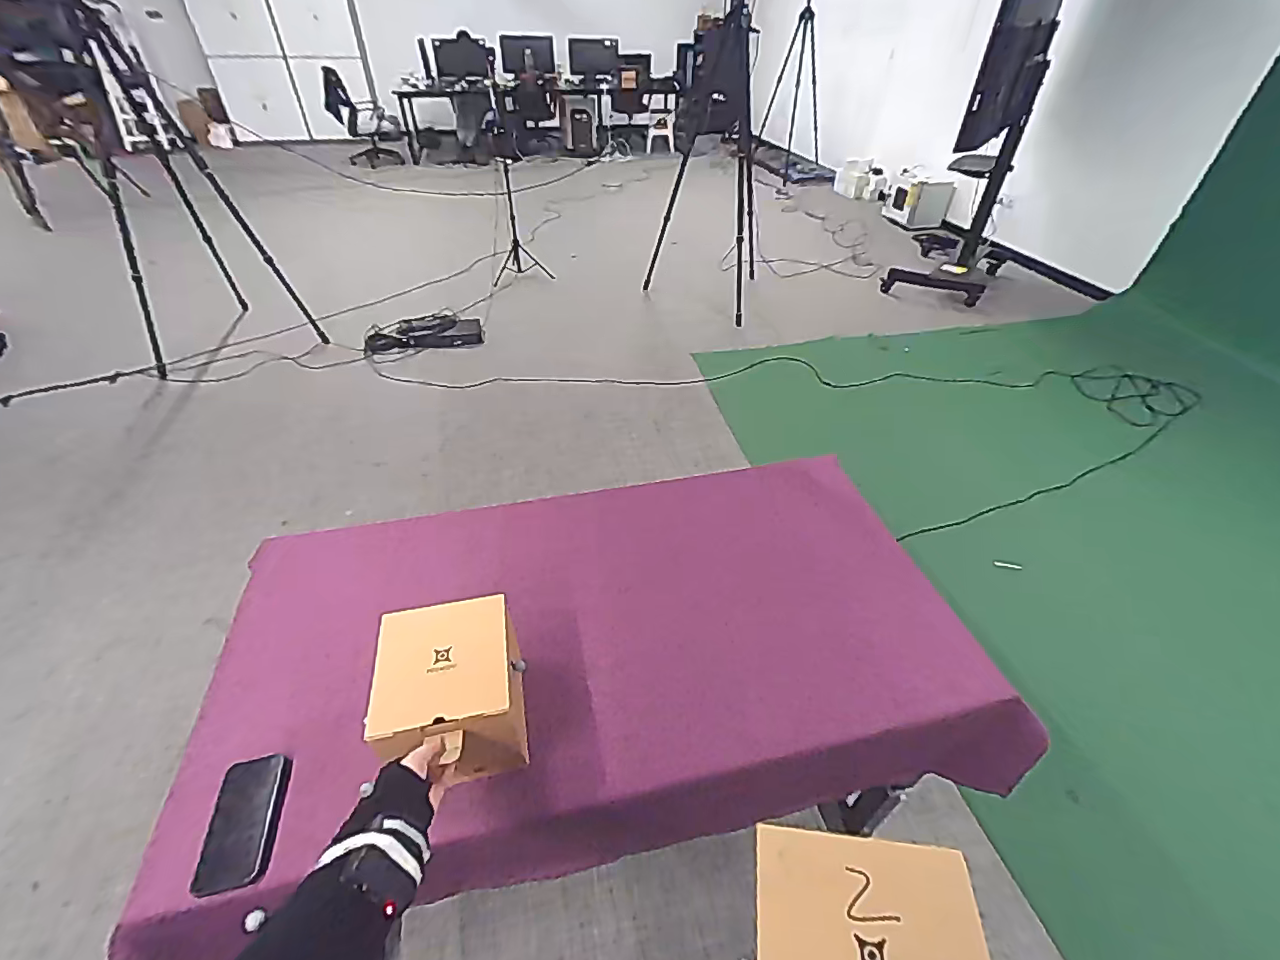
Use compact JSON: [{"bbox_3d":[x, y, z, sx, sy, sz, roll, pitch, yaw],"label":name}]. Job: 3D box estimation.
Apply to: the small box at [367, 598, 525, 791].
[{"bbox_3d":[-0.256,0.294,0.749,0.168,0.176,0.179,-8,42,-10],"label":"small box"}]
